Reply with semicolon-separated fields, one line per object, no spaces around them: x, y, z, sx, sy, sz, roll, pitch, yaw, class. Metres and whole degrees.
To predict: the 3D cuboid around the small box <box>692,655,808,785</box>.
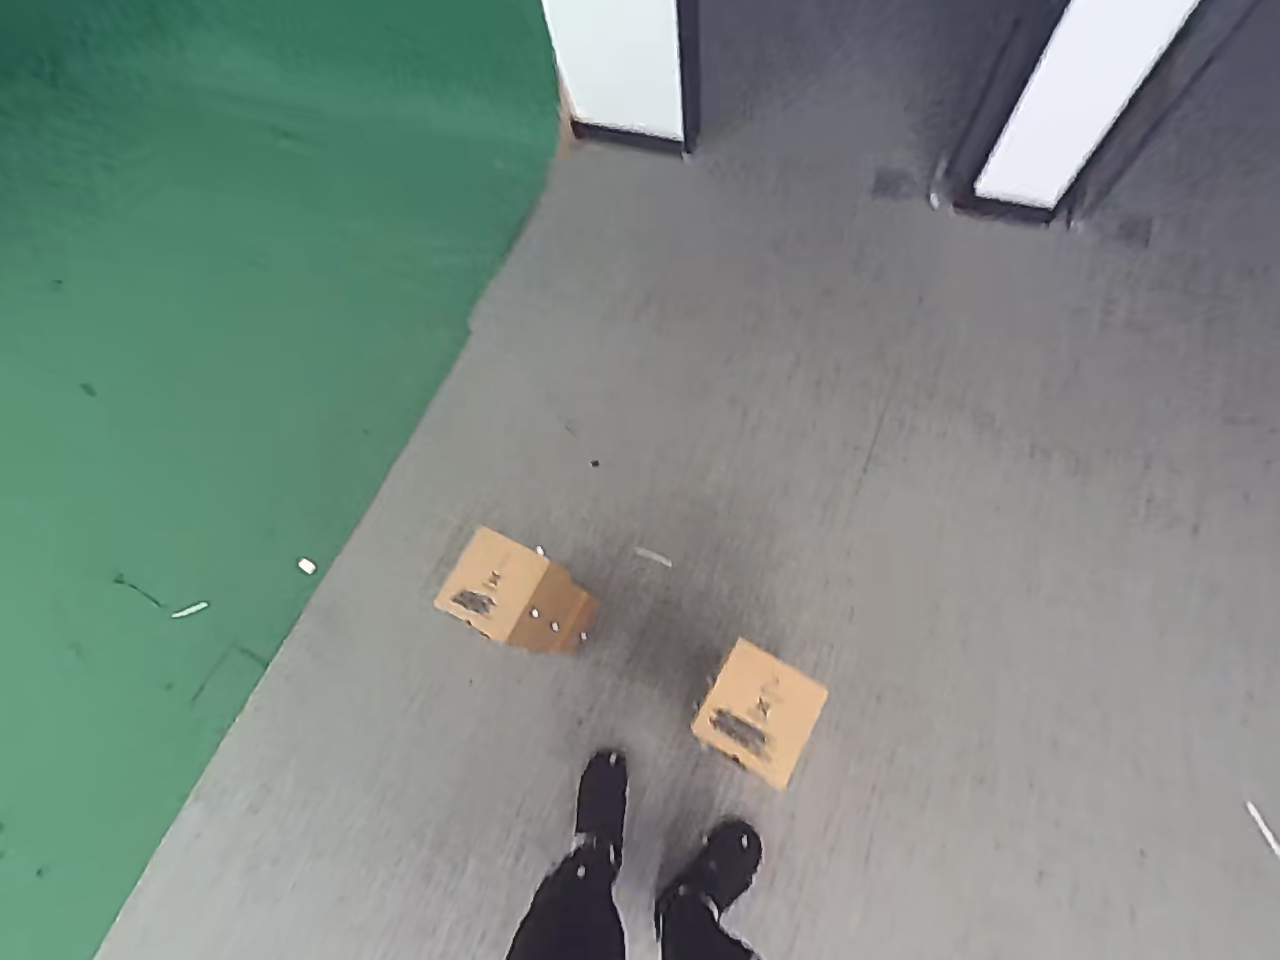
0.217;0.478;1.101;0.168;0.176;0.179;27;75;16;small box

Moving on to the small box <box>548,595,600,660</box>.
-0.227;0.350;1.388;0.179;0.176;0.168;26;75;16;small box

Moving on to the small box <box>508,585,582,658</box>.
-0.254;0.293;1.237;0.168;0.176;0.179;26;76;16;small box

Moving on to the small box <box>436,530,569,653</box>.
-0.263;0.231;1.085;0.168;0.176;0.179;24;74;16;small box
